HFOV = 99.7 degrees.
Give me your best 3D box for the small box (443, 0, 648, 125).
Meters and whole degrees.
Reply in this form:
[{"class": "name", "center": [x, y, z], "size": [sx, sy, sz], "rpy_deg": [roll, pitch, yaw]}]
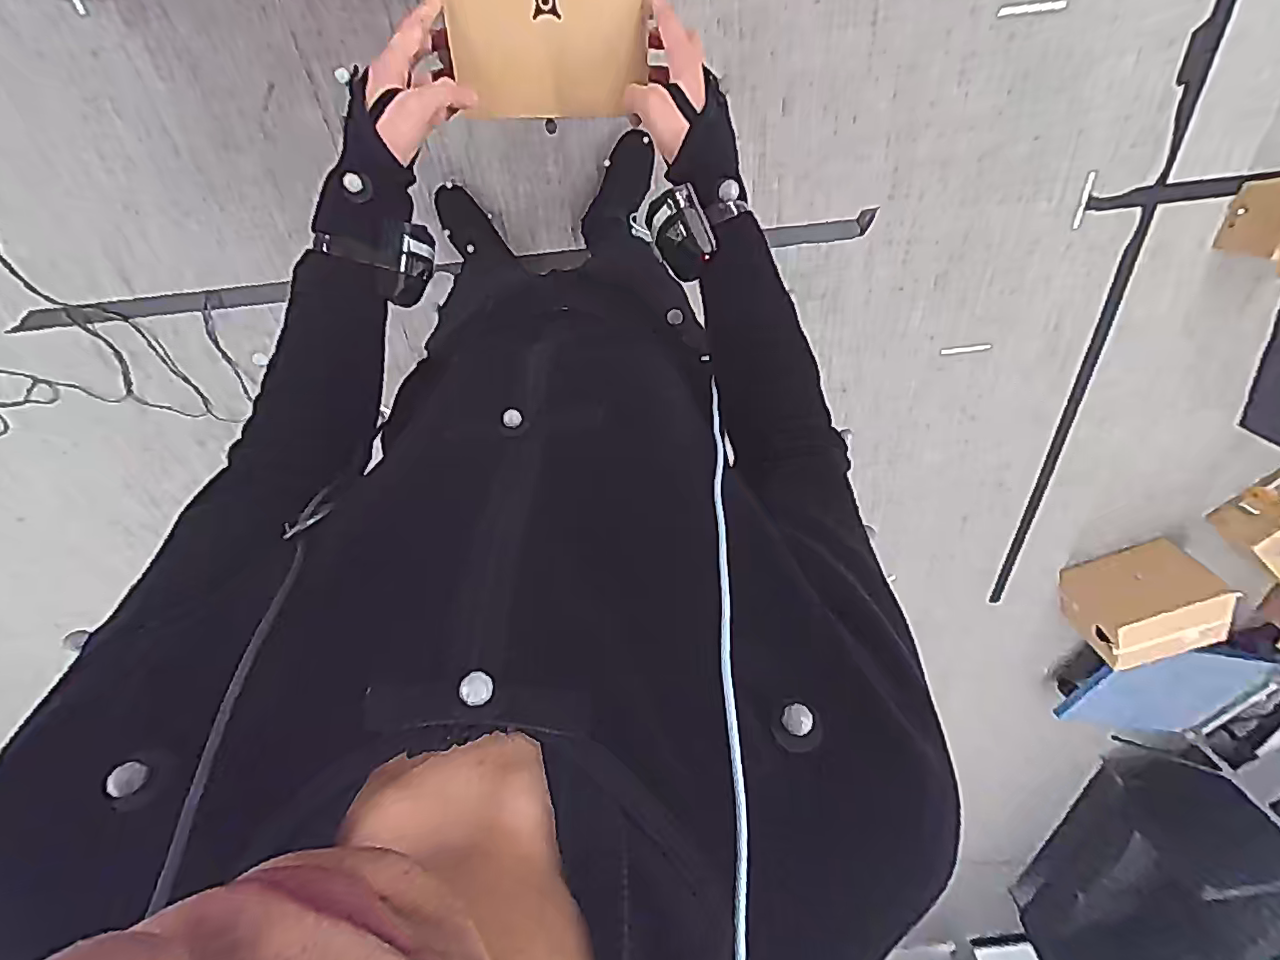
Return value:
[{"class": "small box", "center": [-0.084, -0.433, 0.492], "size": [0.168, 0.176, 0.179], "rpy_deg": [-5, 126, -6]}]
